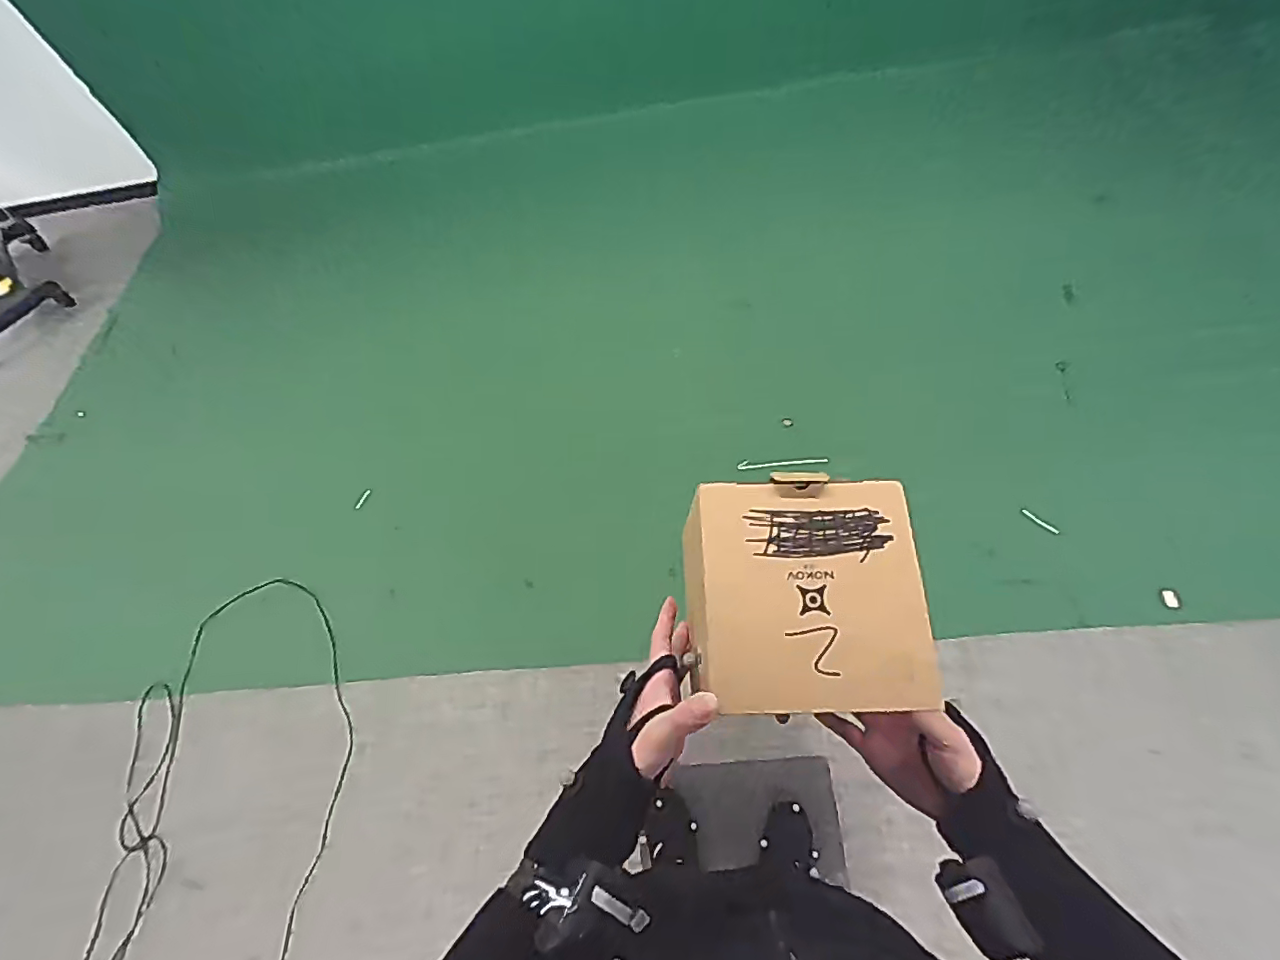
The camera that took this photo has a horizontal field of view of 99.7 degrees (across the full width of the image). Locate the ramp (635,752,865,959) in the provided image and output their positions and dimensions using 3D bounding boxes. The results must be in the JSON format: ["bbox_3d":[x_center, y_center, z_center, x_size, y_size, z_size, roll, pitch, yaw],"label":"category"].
[{"bbox_3d":[0.271,1.172,1.206,0.509,0.206,0.991,-8,61,3],"label":"ramp"}]
